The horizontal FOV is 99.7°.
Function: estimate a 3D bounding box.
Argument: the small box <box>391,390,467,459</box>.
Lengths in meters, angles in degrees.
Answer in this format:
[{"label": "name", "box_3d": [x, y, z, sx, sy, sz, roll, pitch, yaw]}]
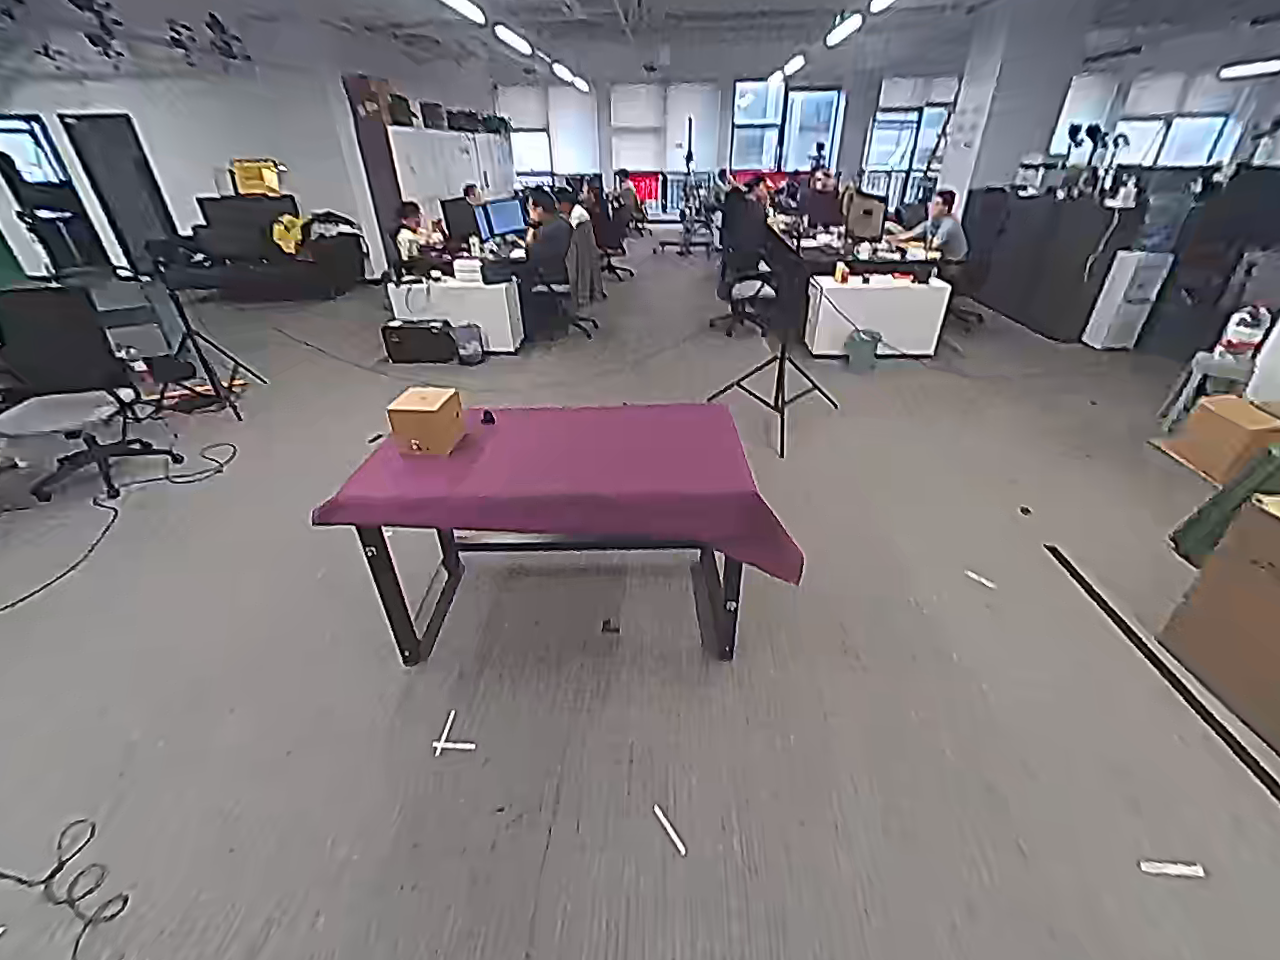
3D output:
[{"label": "small box", "box_3d": [-0.687, -0.186, 1.782, 0.168, 0.176, 0.179, 1, 32, 6]}]
